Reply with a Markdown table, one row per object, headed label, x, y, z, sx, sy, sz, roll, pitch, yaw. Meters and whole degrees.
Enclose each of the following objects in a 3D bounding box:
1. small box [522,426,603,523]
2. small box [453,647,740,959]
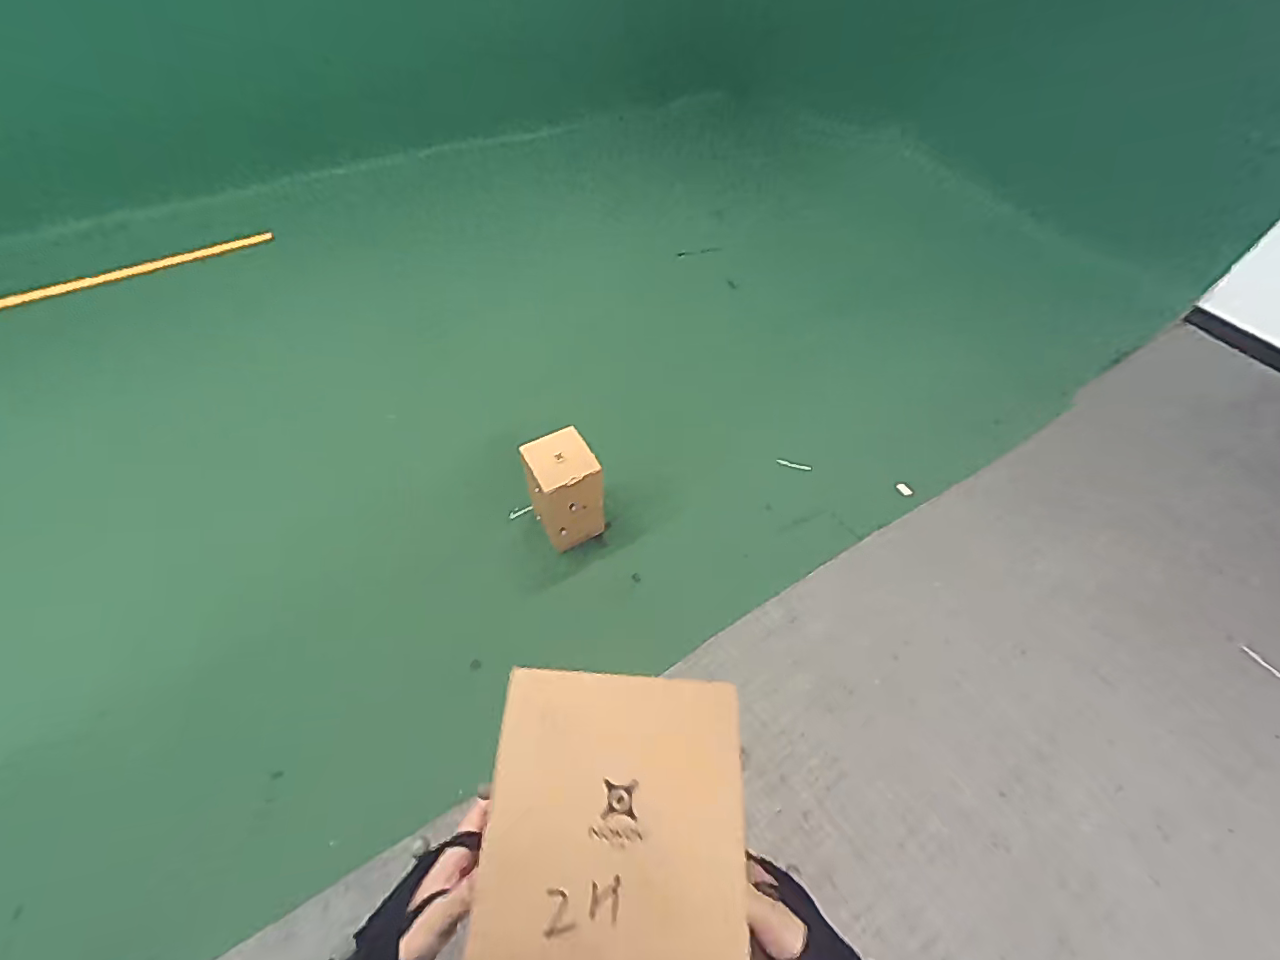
| label | x | y | z | sx | sy | sz | roll | pitch | yaw |
| --- | --- | --- | --- | --- | --- | --- | --- | --- | --- |
| small box | -0.213 | -0.014 | 1.505 | 0.168 | 0.176 | 0.179 | -25 | 58 | -19 |
| small box | -0.027 | 0.244 | 0.414 | 0.168 | 0.176 | 0.179 | 4 | 57 | -3 |
